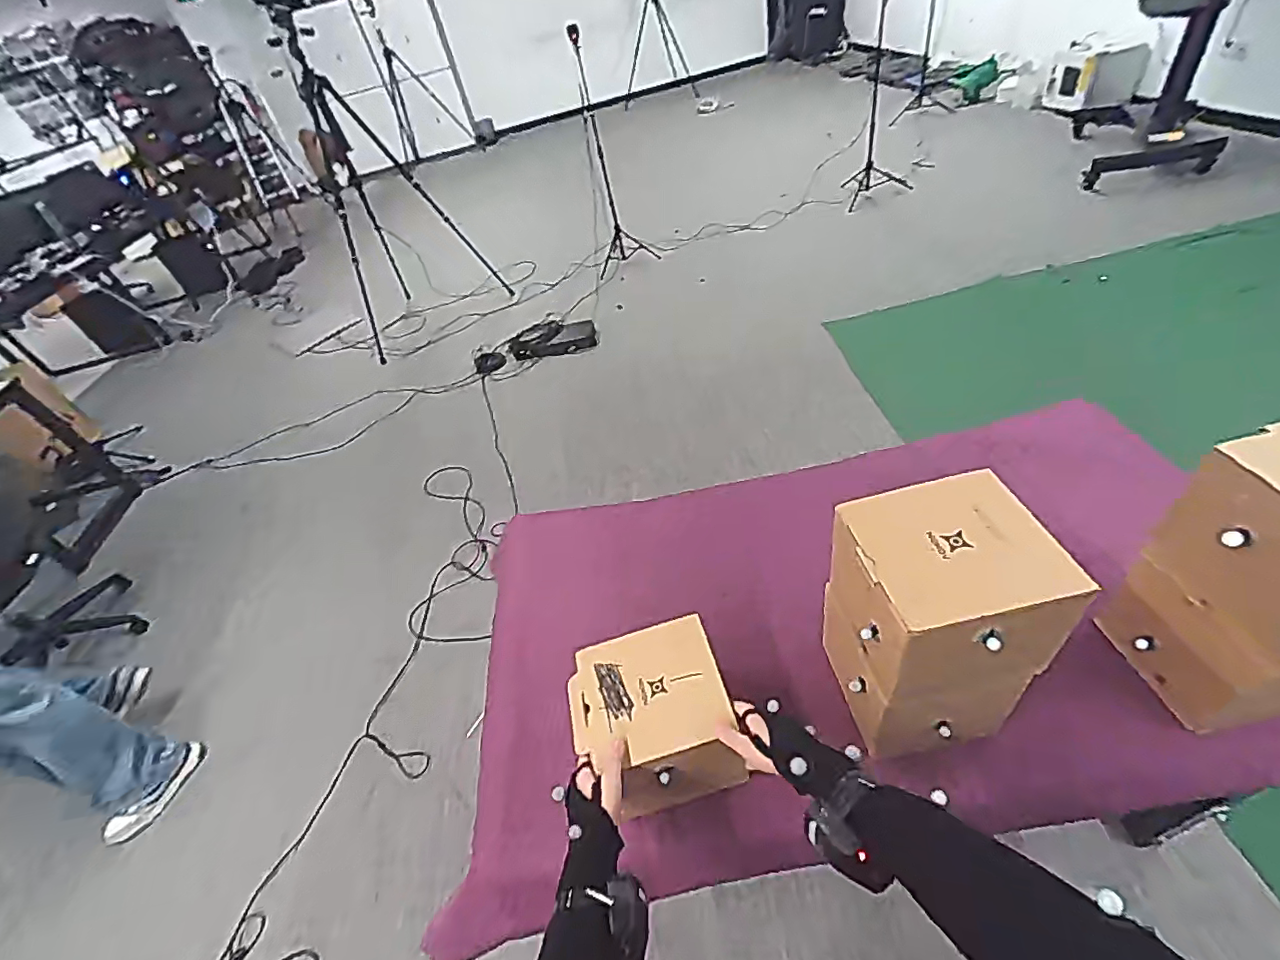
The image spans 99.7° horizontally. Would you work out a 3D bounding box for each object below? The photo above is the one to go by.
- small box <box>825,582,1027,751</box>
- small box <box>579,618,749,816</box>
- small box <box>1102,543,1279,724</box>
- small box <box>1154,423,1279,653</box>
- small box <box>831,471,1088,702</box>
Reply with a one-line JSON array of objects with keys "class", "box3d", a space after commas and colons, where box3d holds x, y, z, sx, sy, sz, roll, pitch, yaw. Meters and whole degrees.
[{"class": "small box", "box3d": [0.356, 0.234, 0.711, 0.168, 0.176, 0.179, -15, 42, 3]}, {"class": "small box", "box3d": [0.033, 0.321, 0.726, 0.179, 0.176, 0.168, -18, 42, -1]}, {"class": "small box", "box3d": [0.727, 0.169, 0.656, 0.179, 0.176, 0.168, -17, 44, 3]}, {"class": "small box", "box3d": [0.691, 0.053, 0.545, 0.168, 0.176, 0.179, -17, 43, 4]}, {"class": "small box", "box3d": [0.325, 0.121, 0.596, 0.179, 0.176, 0.168, -14, 43, 3]}]
